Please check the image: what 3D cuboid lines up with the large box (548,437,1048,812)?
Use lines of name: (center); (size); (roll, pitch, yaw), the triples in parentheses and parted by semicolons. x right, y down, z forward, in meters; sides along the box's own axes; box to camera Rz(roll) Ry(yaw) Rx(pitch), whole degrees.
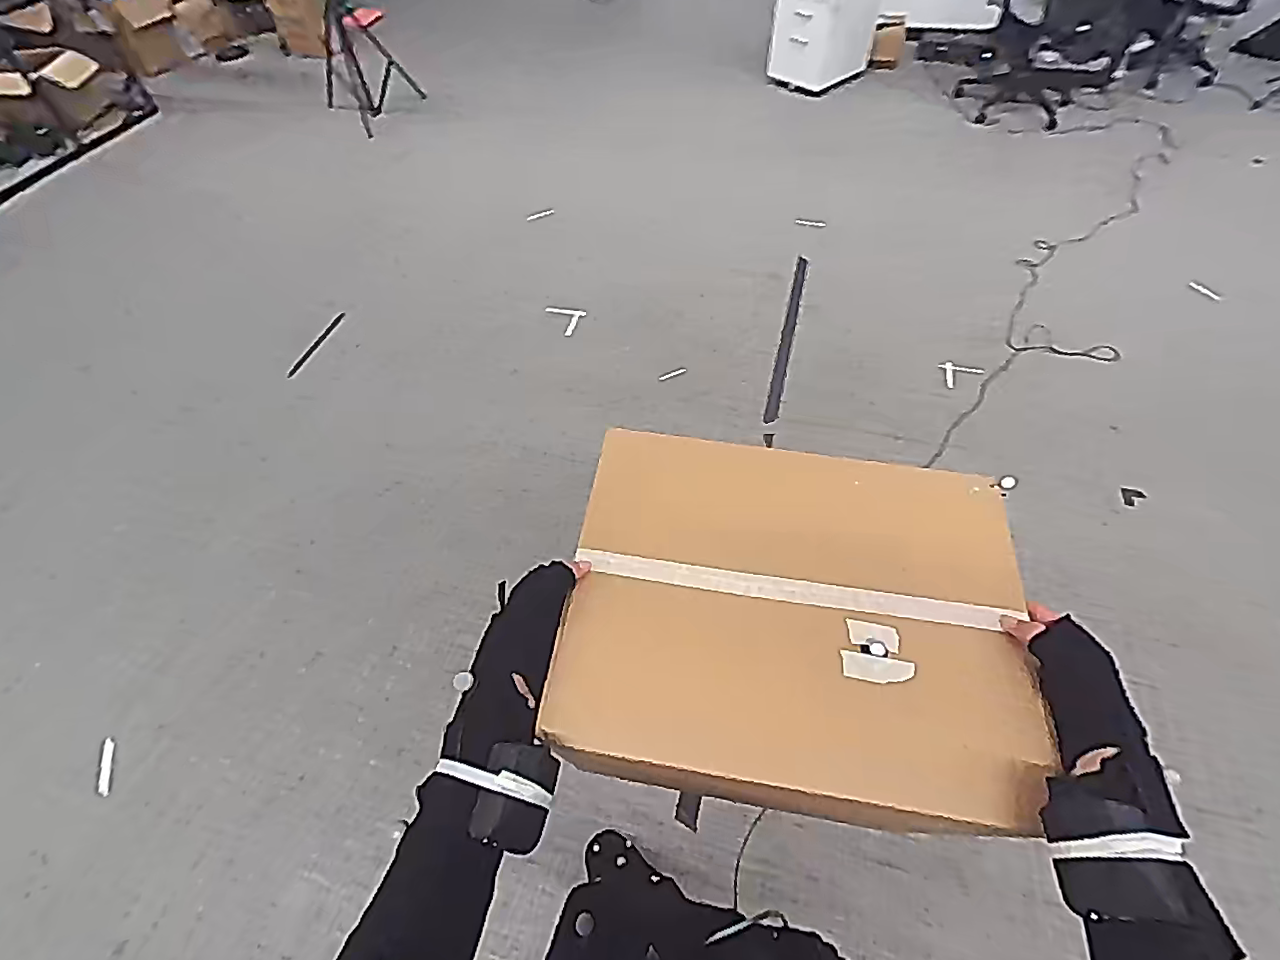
large box: (0.136, 0.179, 0.630); (0.408, 0.320, 0.320); (7, 59, 4)
